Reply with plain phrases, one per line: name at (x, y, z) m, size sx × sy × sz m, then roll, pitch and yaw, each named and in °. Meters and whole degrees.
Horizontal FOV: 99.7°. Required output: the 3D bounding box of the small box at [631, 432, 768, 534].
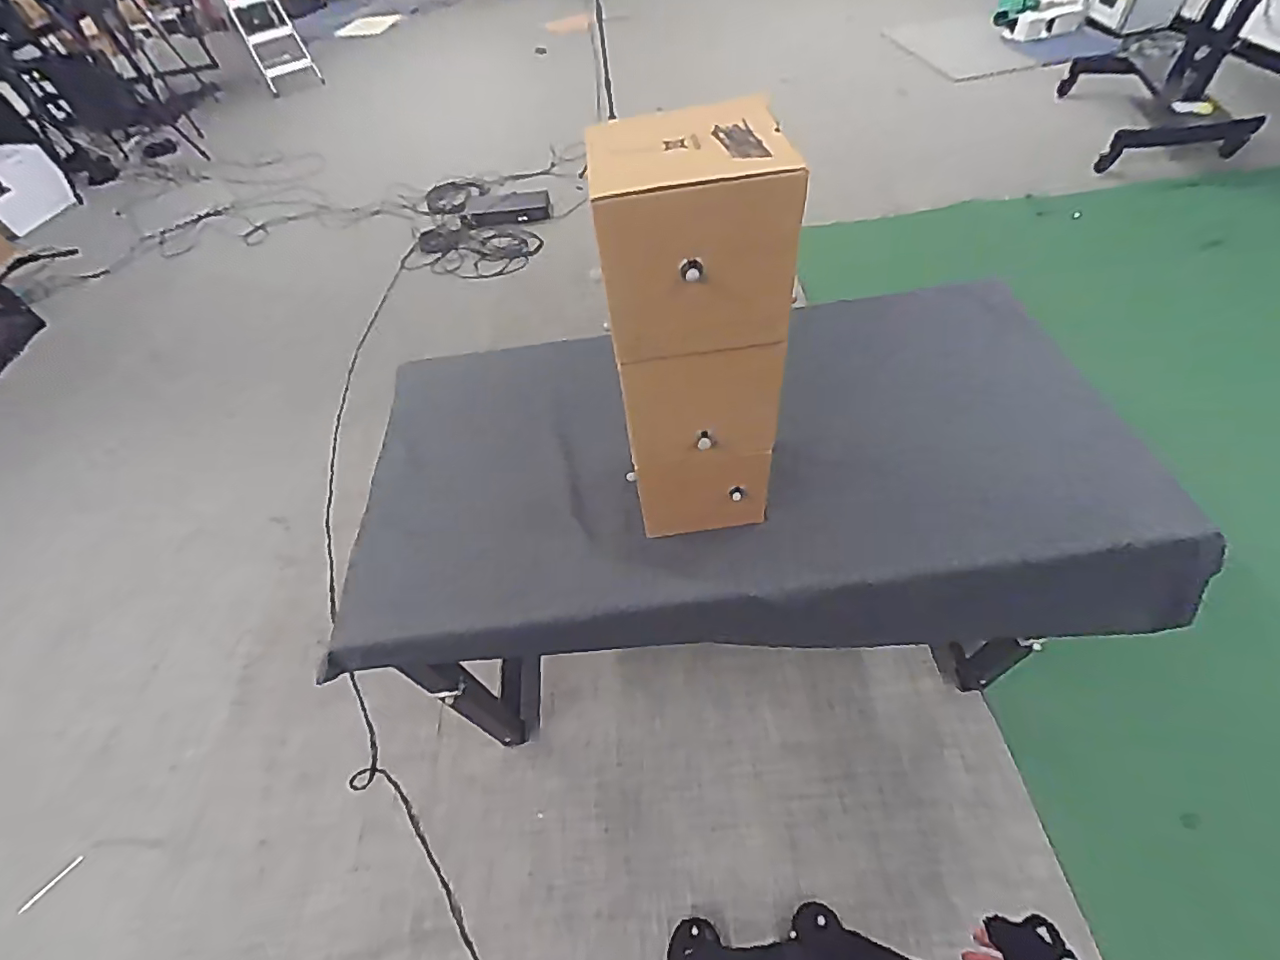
small box at (0.077, -0.040, 0.793) m, size 0.179 × 0.176 × 0.168 m, roll -9°, pitch 51°, yaw 2°

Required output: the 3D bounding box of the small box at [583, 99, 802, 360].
small box at (0.044, -0.242, 0.536) m, size 0.179 × 0.176 × 0.168 m, roll -8°, pitch 51°, yaw 2°

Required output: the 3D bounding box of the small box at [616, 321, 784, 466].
small box at (0.061, -0.139, 0.667) m, size 0.179 × 0.176 × 0.168 m, roll -10°, pitch 53°, yaw 0°
